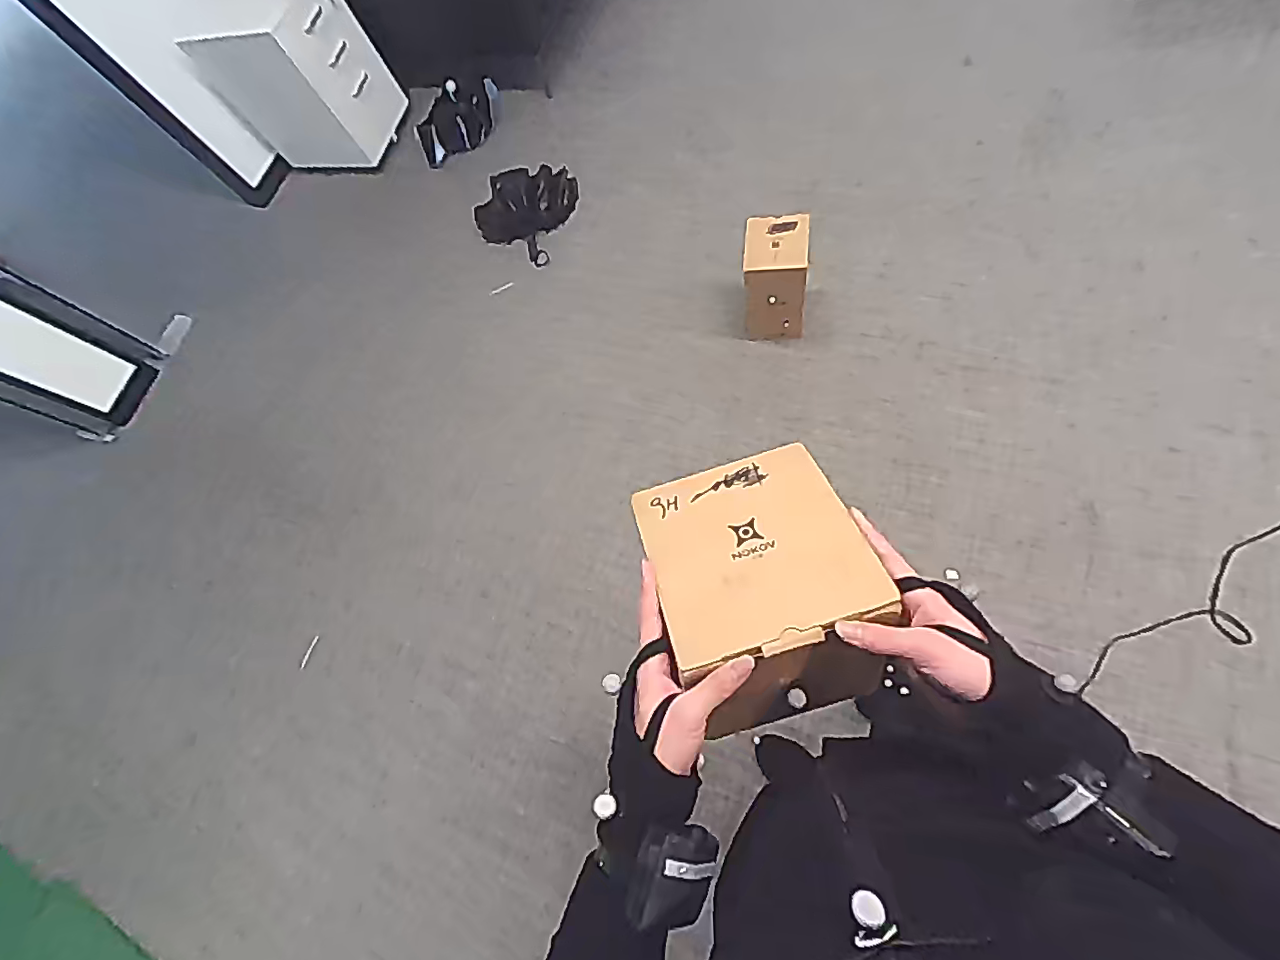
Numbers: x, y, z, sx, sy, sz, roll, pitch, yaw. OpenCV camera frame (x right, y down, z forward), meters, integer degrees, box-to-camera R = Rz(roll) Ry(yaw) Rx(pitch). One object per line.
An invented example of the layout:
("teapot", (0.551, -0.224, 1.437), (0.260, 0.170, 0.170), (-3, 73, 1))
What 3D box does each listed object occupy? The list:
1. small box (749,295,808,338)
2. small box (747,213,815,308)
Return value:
("small box", (0.423, -0.545, 1.636), (0.168, 0.176, 0.179), (2, 70, 15))
("small box", (0.387, -0.596, 1.484), (0.168, 0.176, 0.179), (3, 73, 16))
